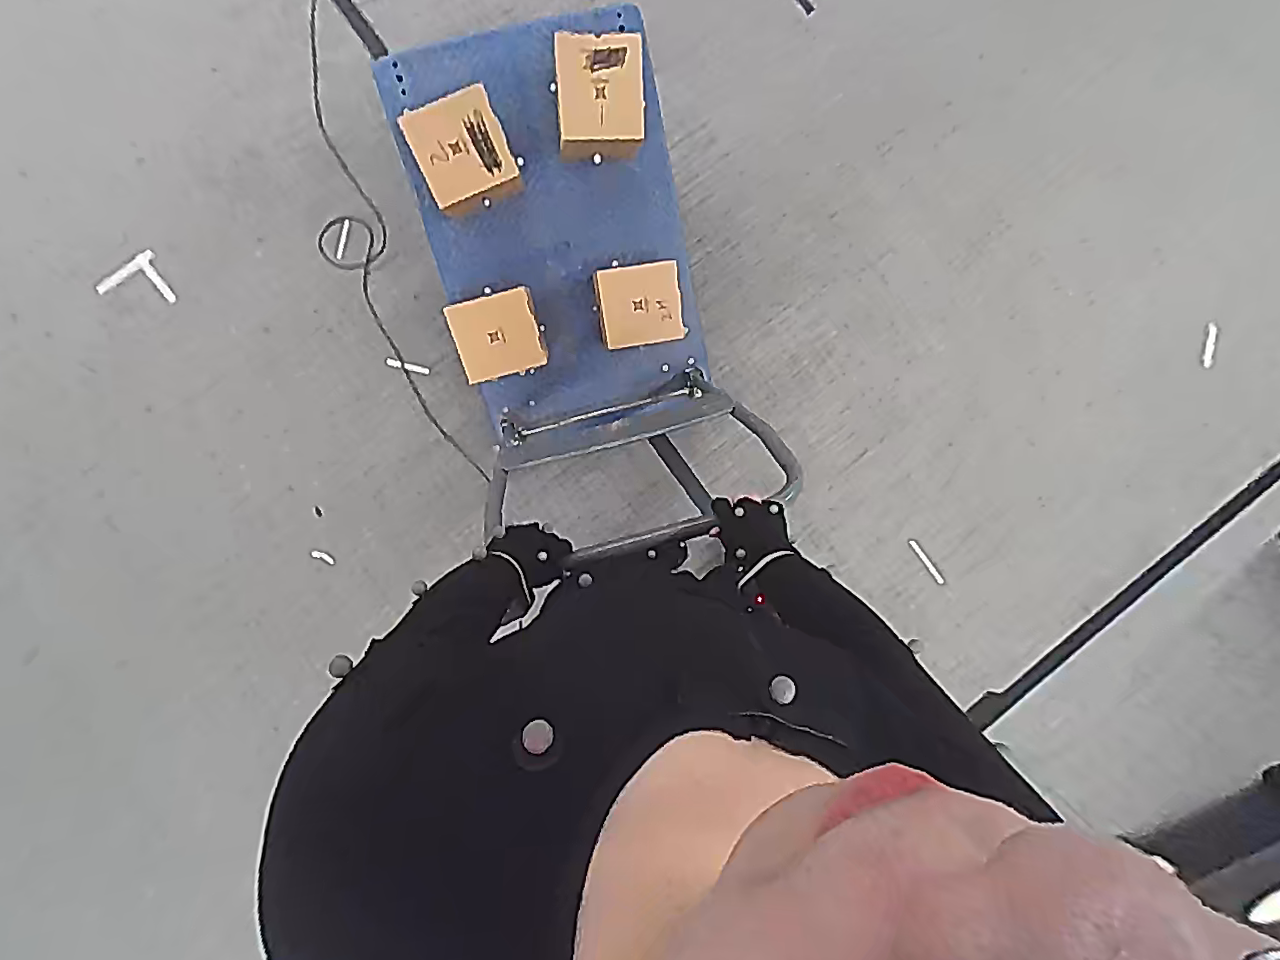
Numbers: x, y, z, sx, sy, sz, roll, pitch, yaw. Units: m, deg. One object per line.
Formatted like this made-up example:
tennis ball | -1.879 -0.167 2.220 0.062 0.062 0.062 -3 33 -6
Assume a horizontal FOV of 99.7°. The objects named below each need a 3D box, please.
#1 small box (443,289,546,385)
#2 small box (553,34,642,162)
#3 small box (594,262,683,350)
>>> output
small box | -0.318 -0.323 1.220 0.179 0.176 0.168 -17 110 -5
small box | -0.090 -0.770 1.106 0.168 0.176 0.179 -5 110 -7
small box | -0.010 -0.398 1.241 0.179 0.176 0.168 -10 110 -5
